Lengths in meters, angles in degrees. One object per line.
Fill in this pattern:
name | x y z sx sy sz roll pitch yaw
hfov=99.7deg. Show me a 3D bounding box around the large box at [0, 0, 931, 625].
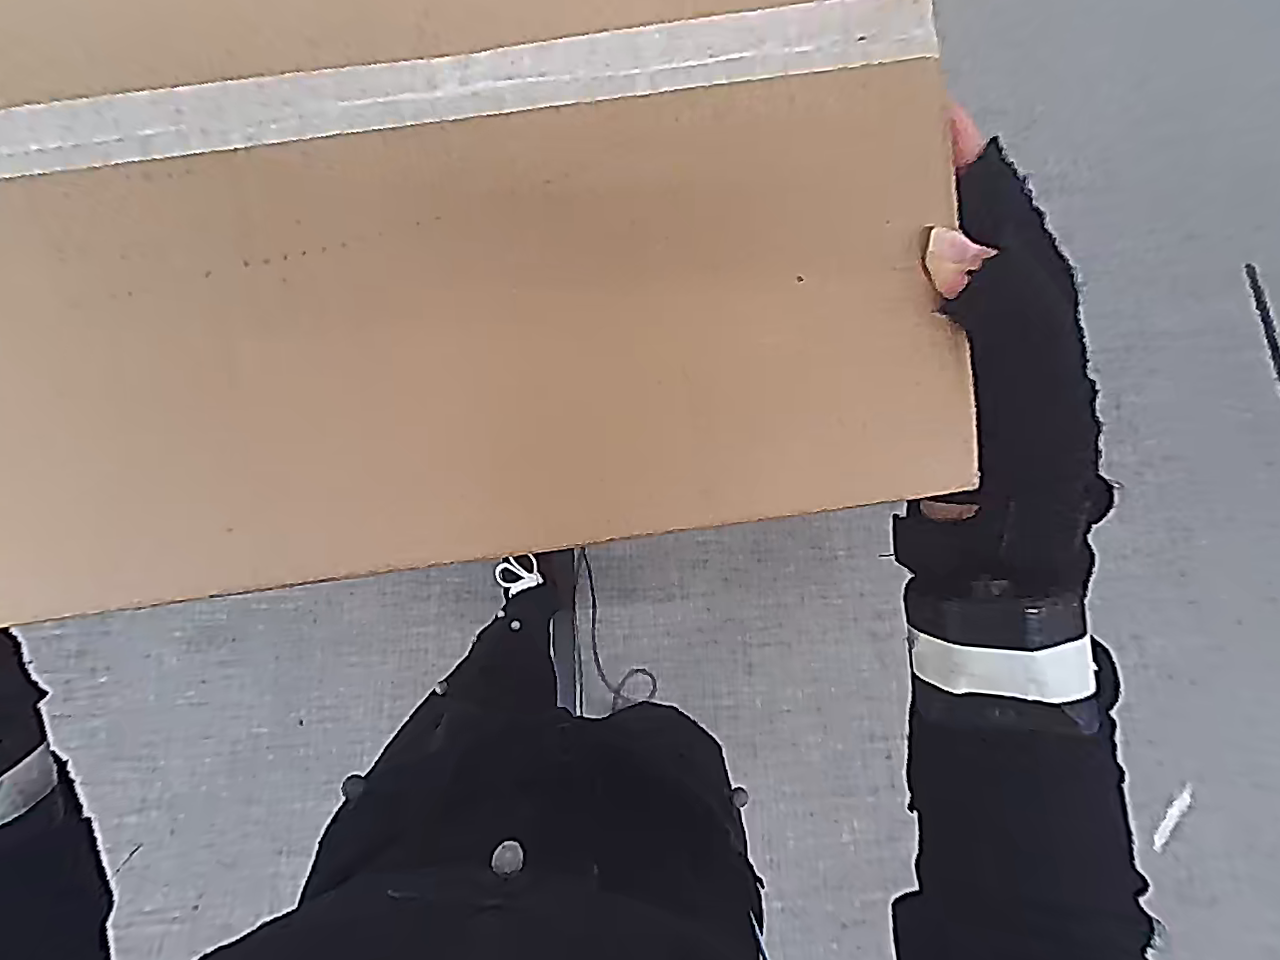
large box | -0.107 -0.130 0.352 0.408 0.320 0.320 -9 94 -1
